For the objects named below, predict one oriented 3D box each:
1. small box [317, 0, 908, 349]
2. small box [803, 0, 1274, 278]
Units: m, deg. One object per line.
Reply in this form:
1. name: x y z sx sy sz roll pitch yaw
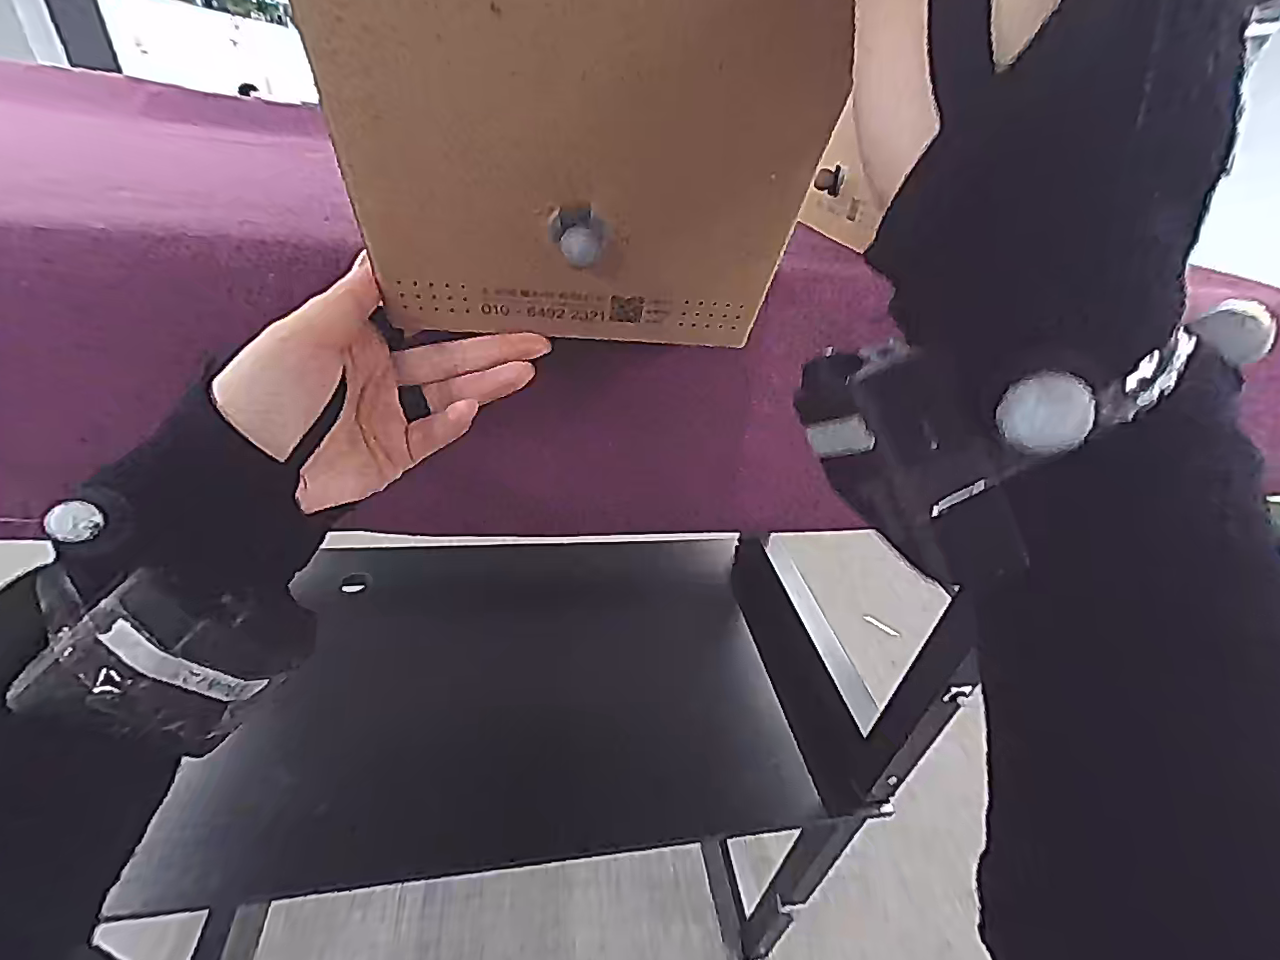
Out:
1. small box: -0.020 -0.180 0.221 0.168 0.176 0.179 1 60 -9
2. small box: 0.242 -0.250 0.383 0.179 0.176 0.168 0 34 -9
